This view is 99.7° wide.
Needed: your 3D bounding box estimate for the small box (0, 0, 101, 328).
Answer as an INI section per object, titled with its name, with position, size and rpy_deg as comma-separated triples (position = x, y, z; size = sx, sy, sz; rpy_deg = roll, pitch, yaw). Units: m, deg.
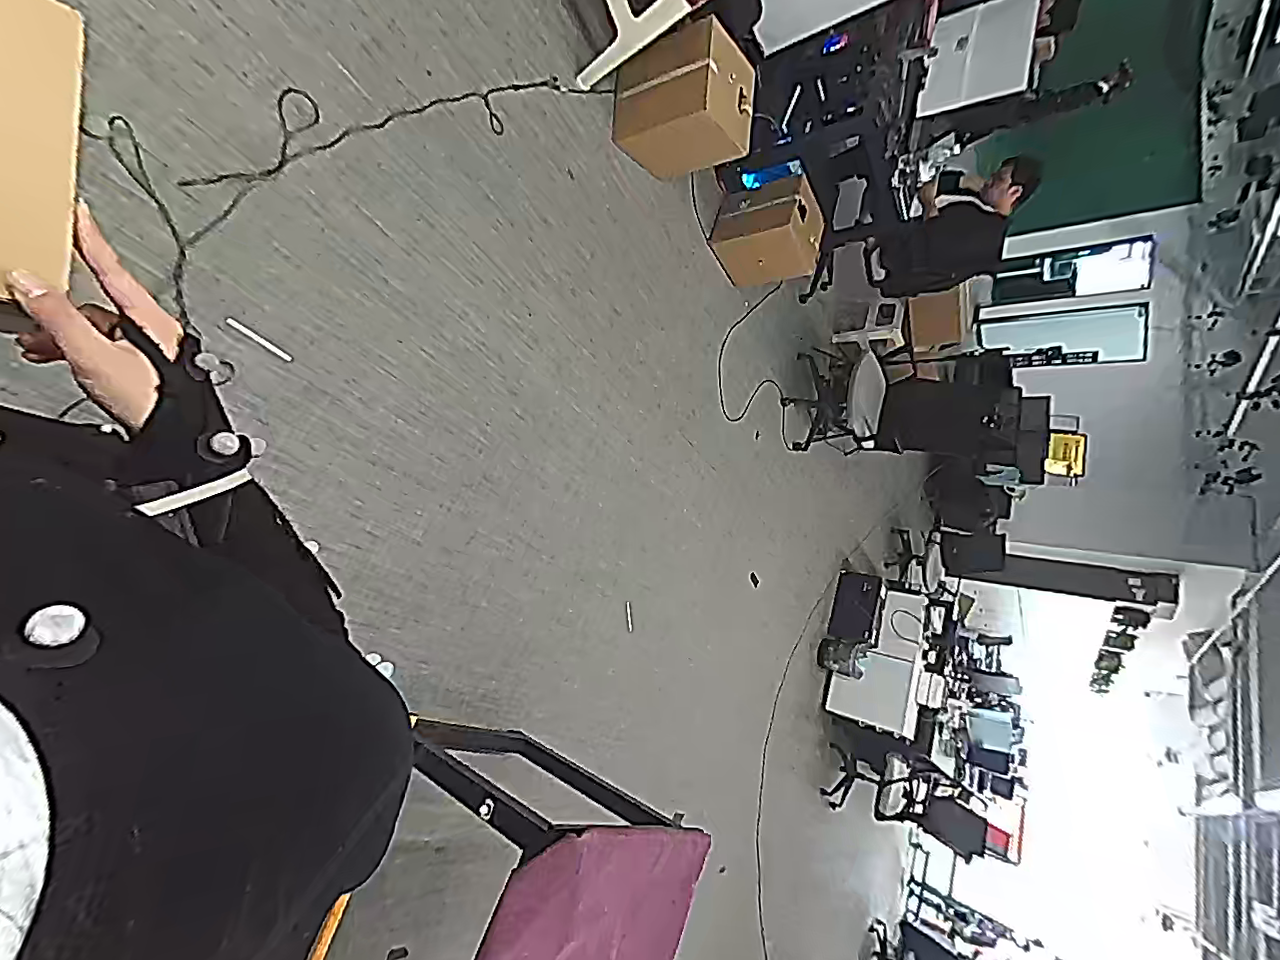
[small box]
position = -0.430, -0.196, 0.294
size = 0.168, 0.176, 0.179
rpy_deg = 4, 91, -53
